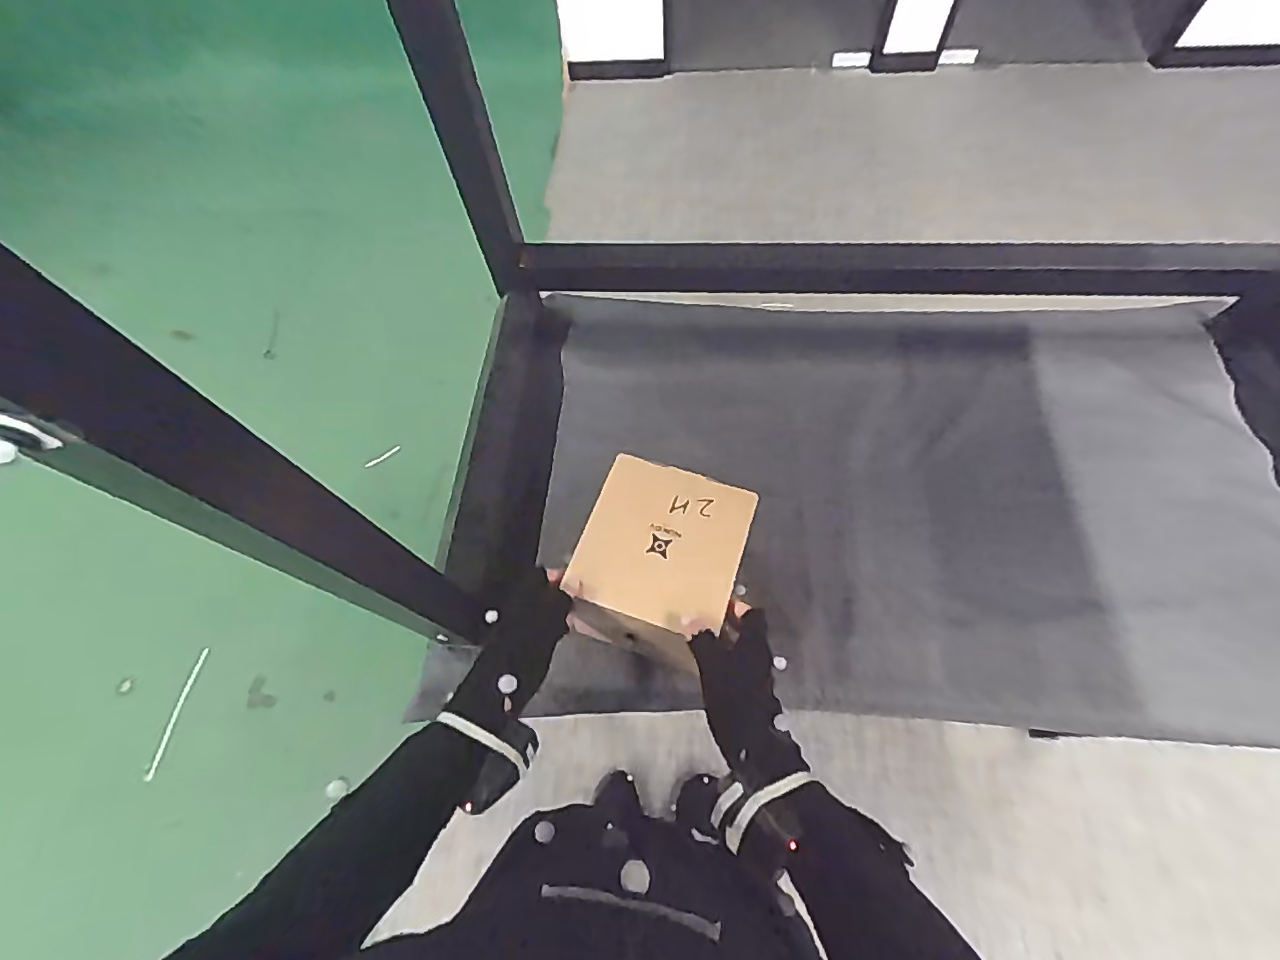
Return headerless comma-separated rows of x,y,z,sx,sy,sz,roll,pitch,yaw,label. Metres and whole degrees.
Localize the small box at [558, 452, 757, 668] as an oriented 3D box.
0.023,0.102,0.638,0.168,0.176,0.179,20,62,10,small box
